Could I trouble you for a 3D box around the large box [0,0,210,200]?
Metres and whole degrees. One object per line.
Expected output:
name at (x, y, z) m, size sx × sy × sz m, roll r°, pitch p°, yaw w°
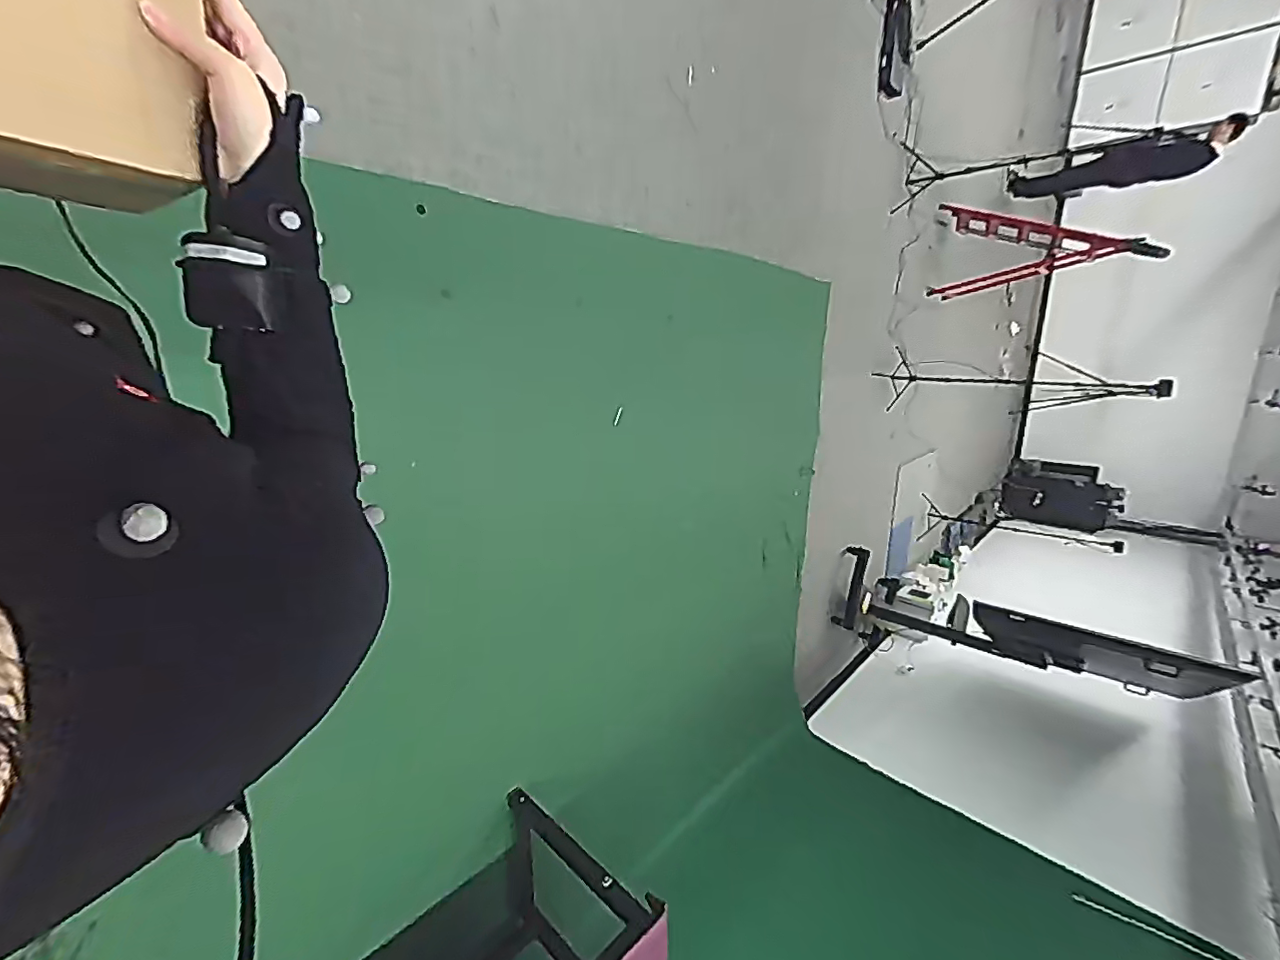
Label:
large box at (-0.541, -0.382, 0.301) m, size 0.408 × 0.320 × 0.320 m, roll -10°, pitch 113°, yaw -49°
